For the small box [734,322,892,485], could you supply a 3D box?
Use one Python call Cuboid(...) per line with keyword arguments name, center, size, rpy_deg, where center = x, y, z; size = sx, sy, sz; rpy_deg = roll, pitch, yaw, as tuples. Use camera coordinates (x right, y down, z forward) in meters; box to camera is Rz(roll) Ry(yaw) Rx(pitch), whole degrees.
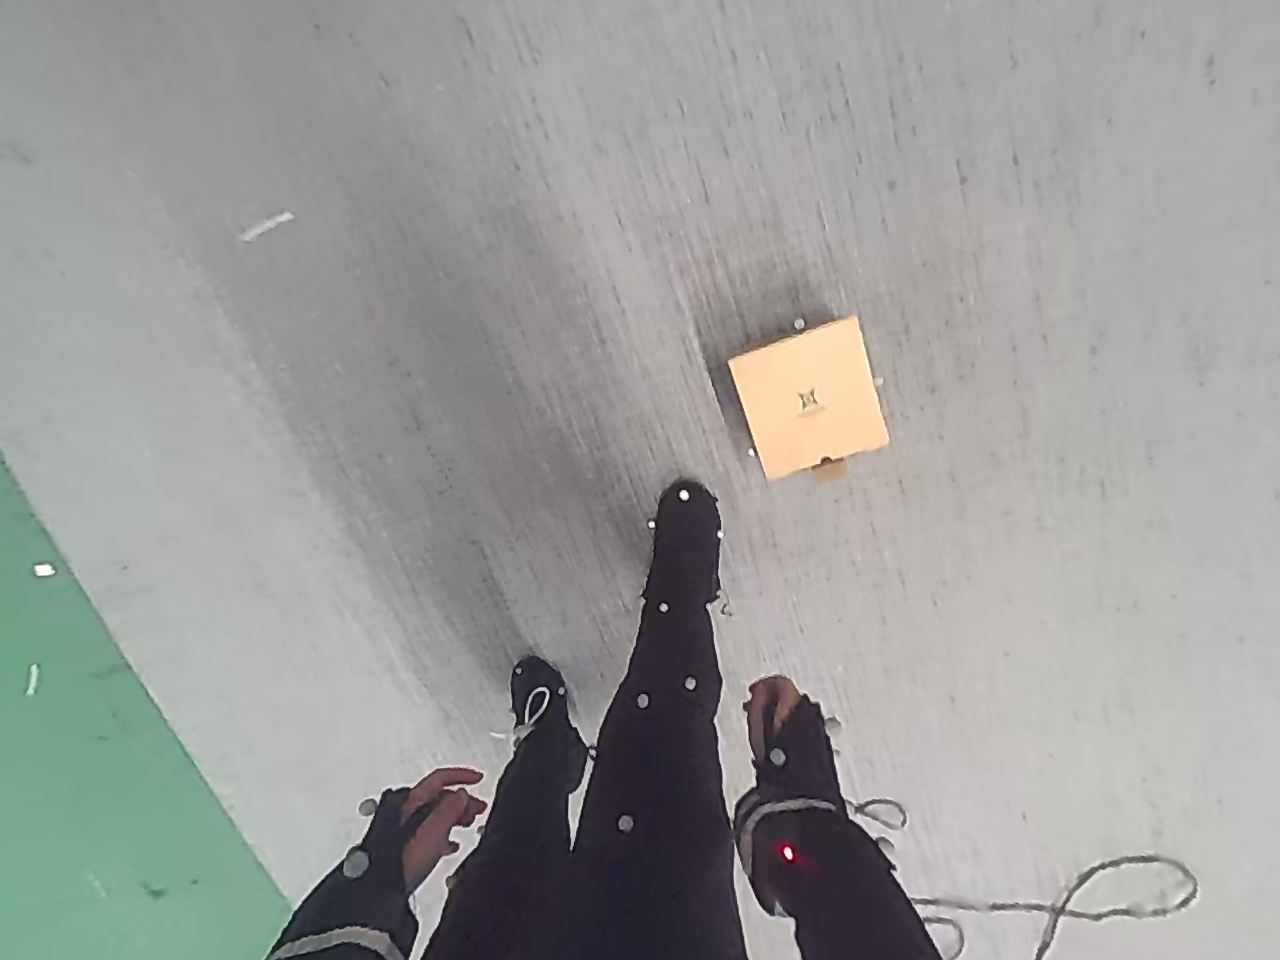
Cuboid(name="small box", center=(0.237, -0.116, 0.781), size=(0.168, 0.176, 0.179), rpy_deg=(-18, 104, 14))
